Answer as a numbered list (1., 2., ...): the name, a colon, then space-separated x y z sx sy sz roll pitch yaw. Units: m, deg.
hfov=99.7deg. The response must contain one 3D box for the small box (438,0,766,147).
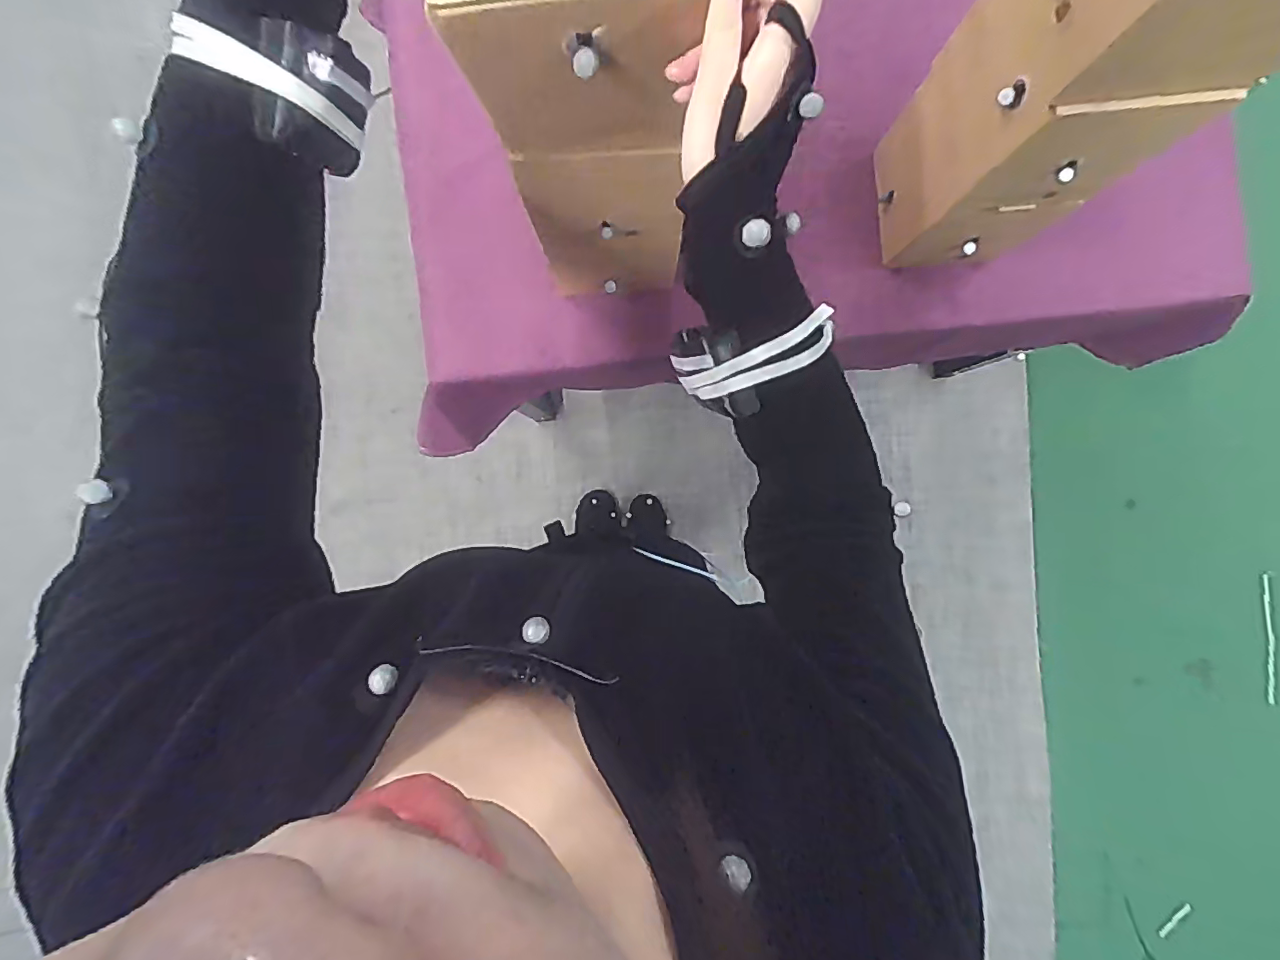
1. small box: -0.021 -0.340 0.346 0.179 0.176 0.168 -3 99 3

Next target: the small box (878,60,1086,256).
1. small box: 0.430 -0.406 0.704 0.168 0.176 0.179 -5 92 -1

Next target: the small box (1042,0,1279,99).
1. small box: 0.425 -0.405 0.375 0.179 0.176 0.168 -5 90 0

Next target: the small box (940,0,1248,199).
1. small box: 0.428 -0.402 0.539 0.168 0.176 0.179 -5 90 -1

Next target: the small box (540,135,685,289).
1. small box: -0.035 -0.364 0.699 0.168 0.176 0.179 -3 92 -1
